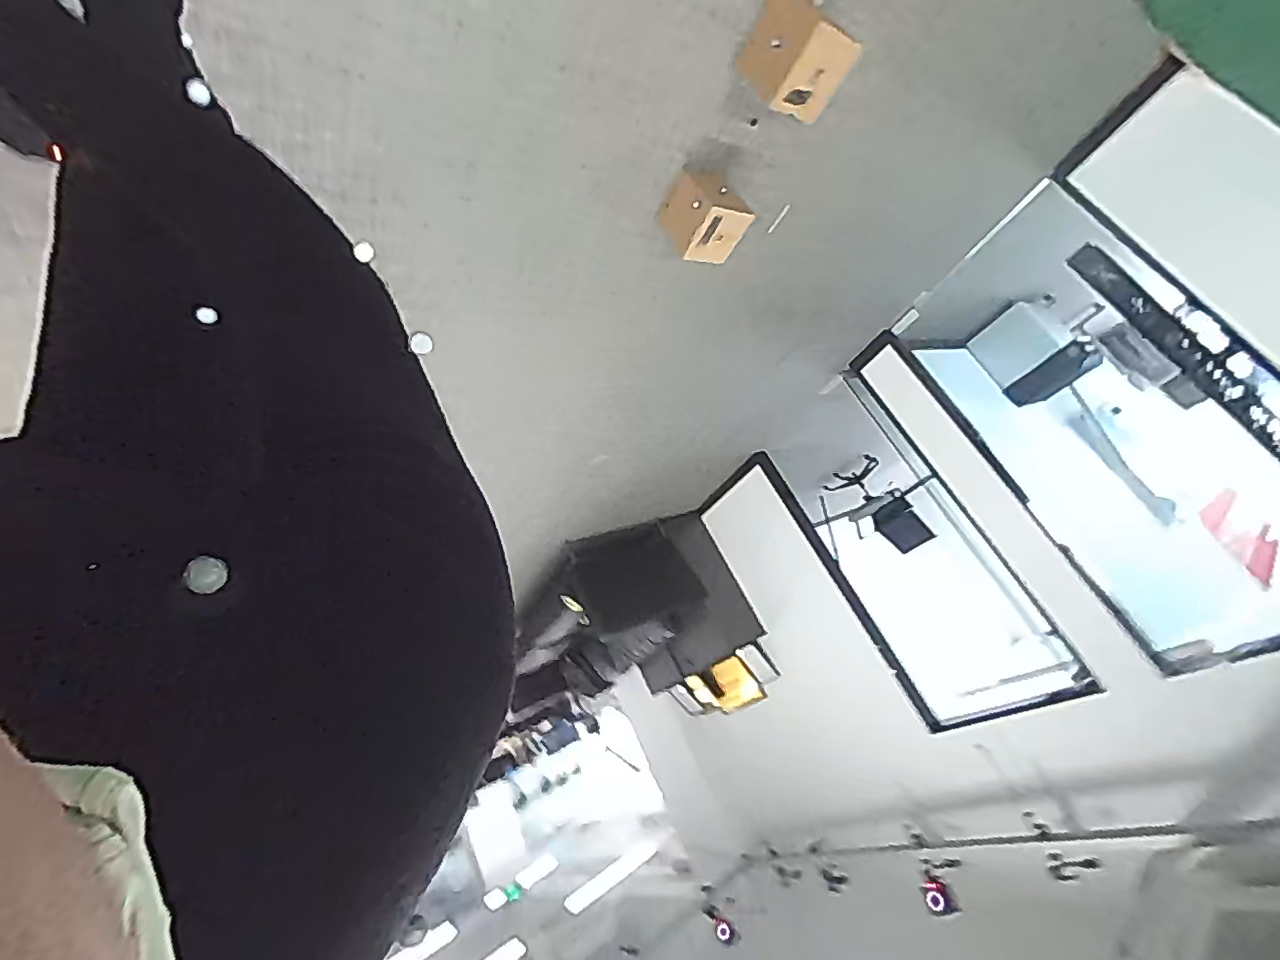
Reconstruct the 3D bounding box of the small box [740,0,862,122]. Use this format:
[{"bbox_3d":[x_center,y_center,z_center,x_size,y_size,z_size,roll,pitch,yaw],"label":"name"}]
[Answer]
[{"bbox_3d":[0.351,-0.961,1.219,0.168,0.176,0.179,-12,153,-39],"label":"small box"}]
